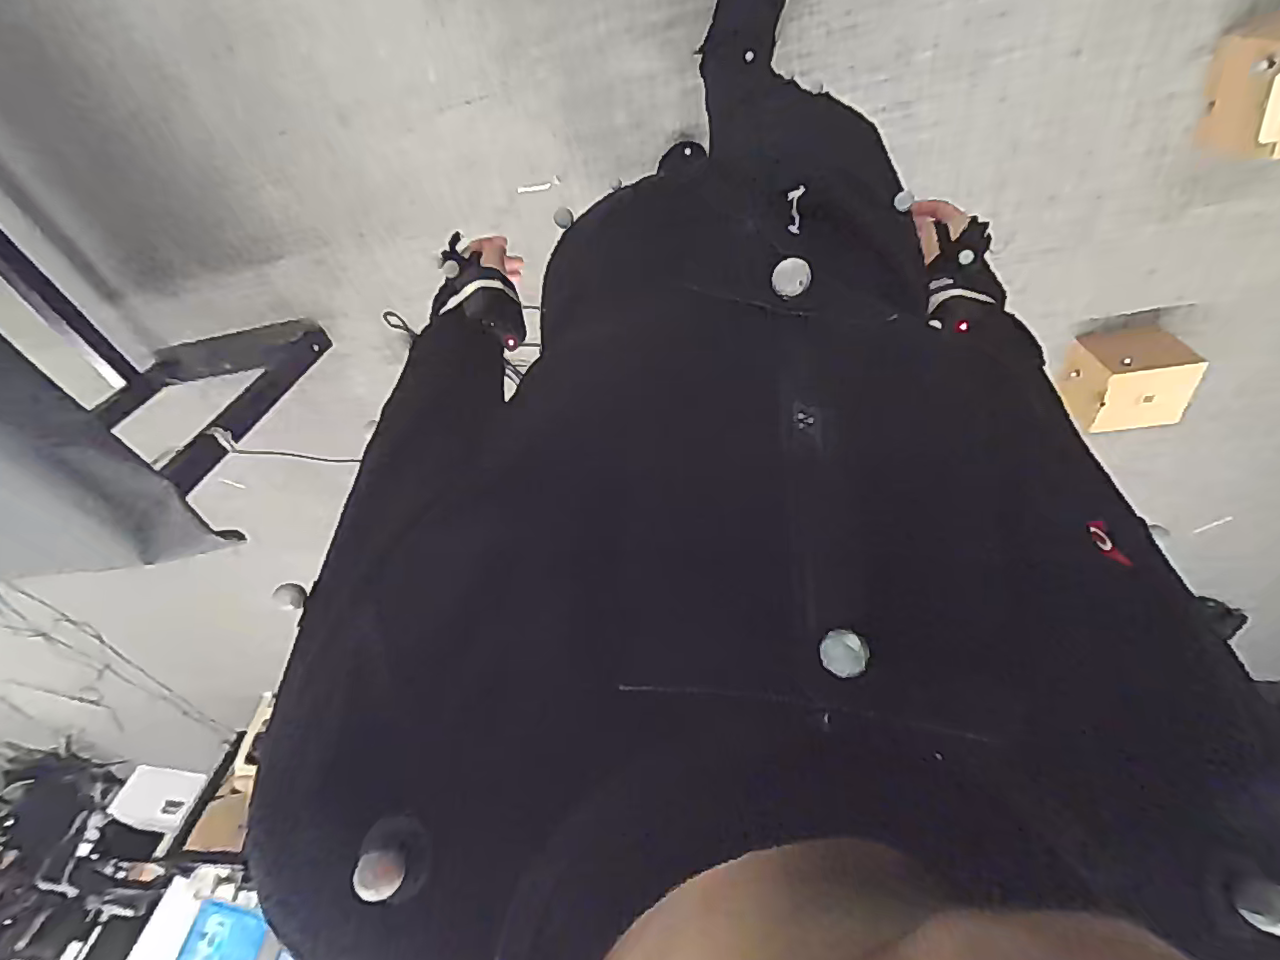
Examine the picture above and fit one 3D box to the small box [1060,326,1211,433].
[{"bbox_3d":[1.115,-0.233,1.236,0.179,0.176,0.168,-7,133,14],"label":"small box"}]
